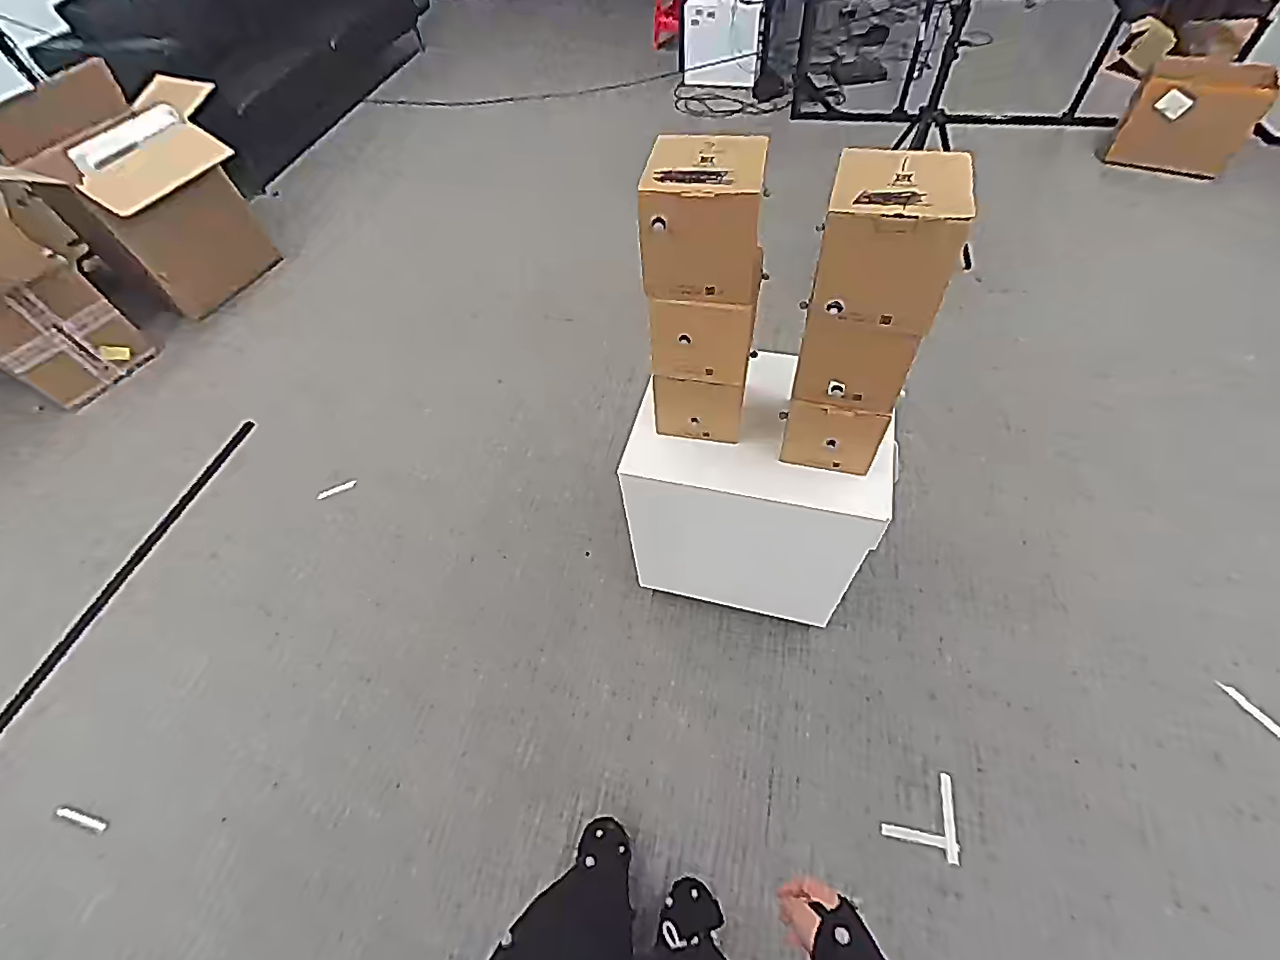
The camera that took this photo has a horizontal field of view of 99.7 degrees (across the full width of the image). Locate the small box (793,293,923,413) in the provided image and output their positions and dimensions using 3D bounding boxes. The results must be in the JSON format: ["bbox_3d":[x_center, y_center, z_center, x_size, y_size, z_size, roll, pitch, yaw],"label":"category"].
[{"bbox_3d":[0.352,-0.237,0.890,0.168,0.176,0.179,10,57,14],"label":"small box"}]

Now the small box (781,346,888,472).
[{"bbox_3d":[0.364,-0.136,1.018,0.168,0.176,0.179,10,58,14],"label":"small box"}]

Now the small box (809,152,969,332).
[{"bbox_3d":[0.338,-0.330,0.754,0.168,0.176,0.179,11,55,15],"label":"small box"}]

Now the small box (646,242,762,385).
[{"bbox_3d":[0.114,-0.288,0.948,0.168,0.176,0.179,9,56,11],"label":"small box"}]
